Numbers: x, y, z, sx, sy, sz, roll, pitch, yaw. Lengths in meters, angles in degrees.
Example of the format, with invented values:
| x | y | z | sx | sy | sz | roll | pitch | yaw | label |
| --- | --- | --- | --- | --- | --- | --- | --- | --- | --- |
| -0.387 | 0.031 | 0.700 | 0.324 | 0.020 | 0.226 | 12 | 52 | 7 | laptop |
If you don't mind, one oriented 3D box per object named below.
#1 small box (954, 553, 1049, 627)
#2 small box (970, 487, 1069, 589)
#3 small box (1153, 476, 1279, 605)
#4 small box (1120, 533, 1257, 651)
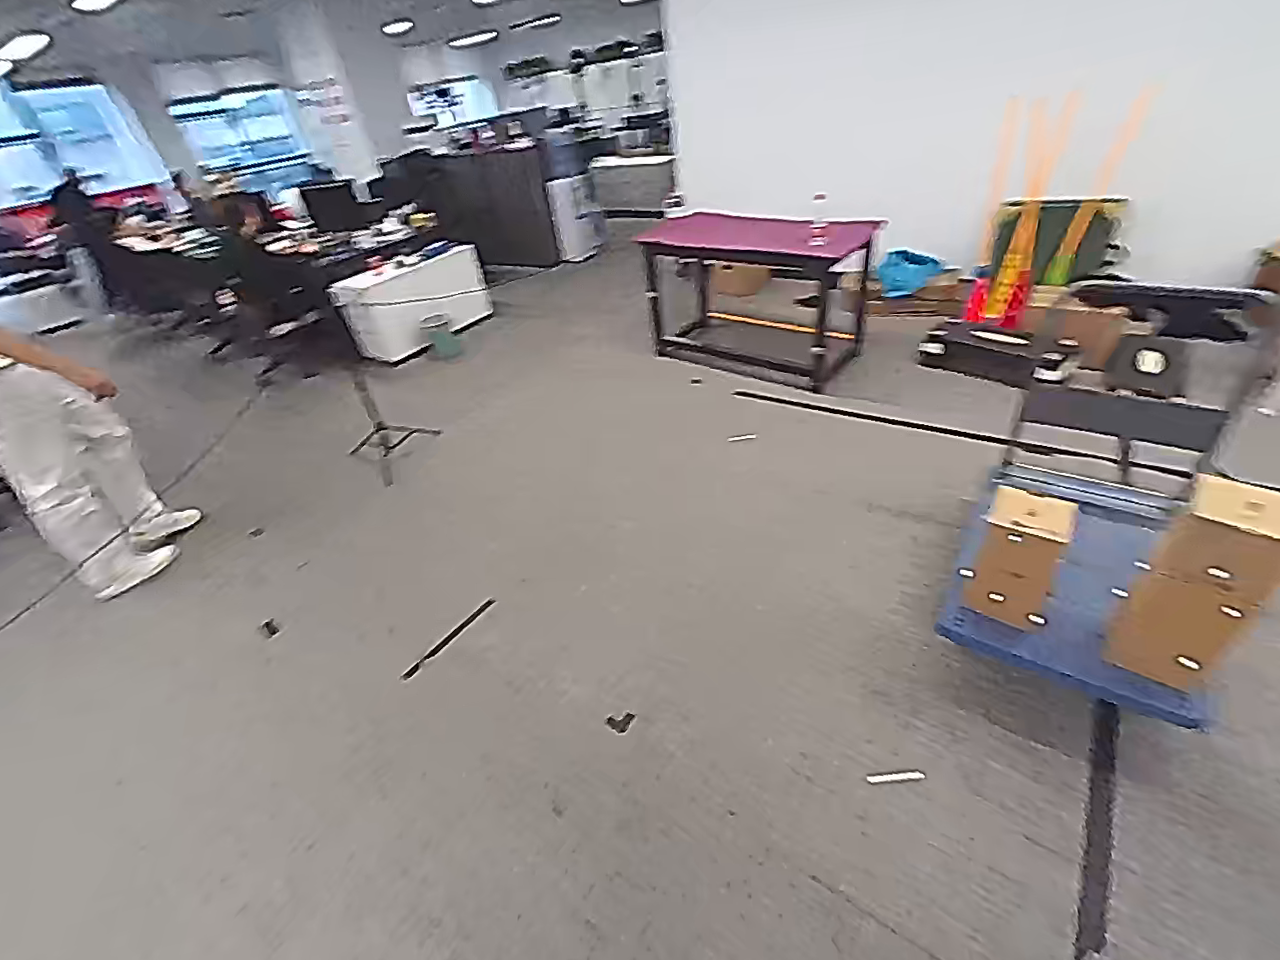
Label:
| x | y | z | sx | sy | sz | roll | pitch | yaw | label |
| --- | --- | --- | --- | --- | --- | --- | --- | --- | --- |
| 1.018 | 0.284 | 1.521 | 0.179 | 0.176 | 0.168 | 21 | 46 | 35 | small box |
| 0.997 | 0.152 | 1.426 | 0.168 | 0.176 | 0.179 | 20 | 44 | 32 | small box |
| 1.234 | 0.126 | 1.143 | 0.168 | 0.176 | 0.179 | 25 | 48 | 36 | small box |
| 1.250 | 0.258 | 1.241 | 0.179 | 0.176 | 0.168 | 24 | 47 | 34 | small box |
